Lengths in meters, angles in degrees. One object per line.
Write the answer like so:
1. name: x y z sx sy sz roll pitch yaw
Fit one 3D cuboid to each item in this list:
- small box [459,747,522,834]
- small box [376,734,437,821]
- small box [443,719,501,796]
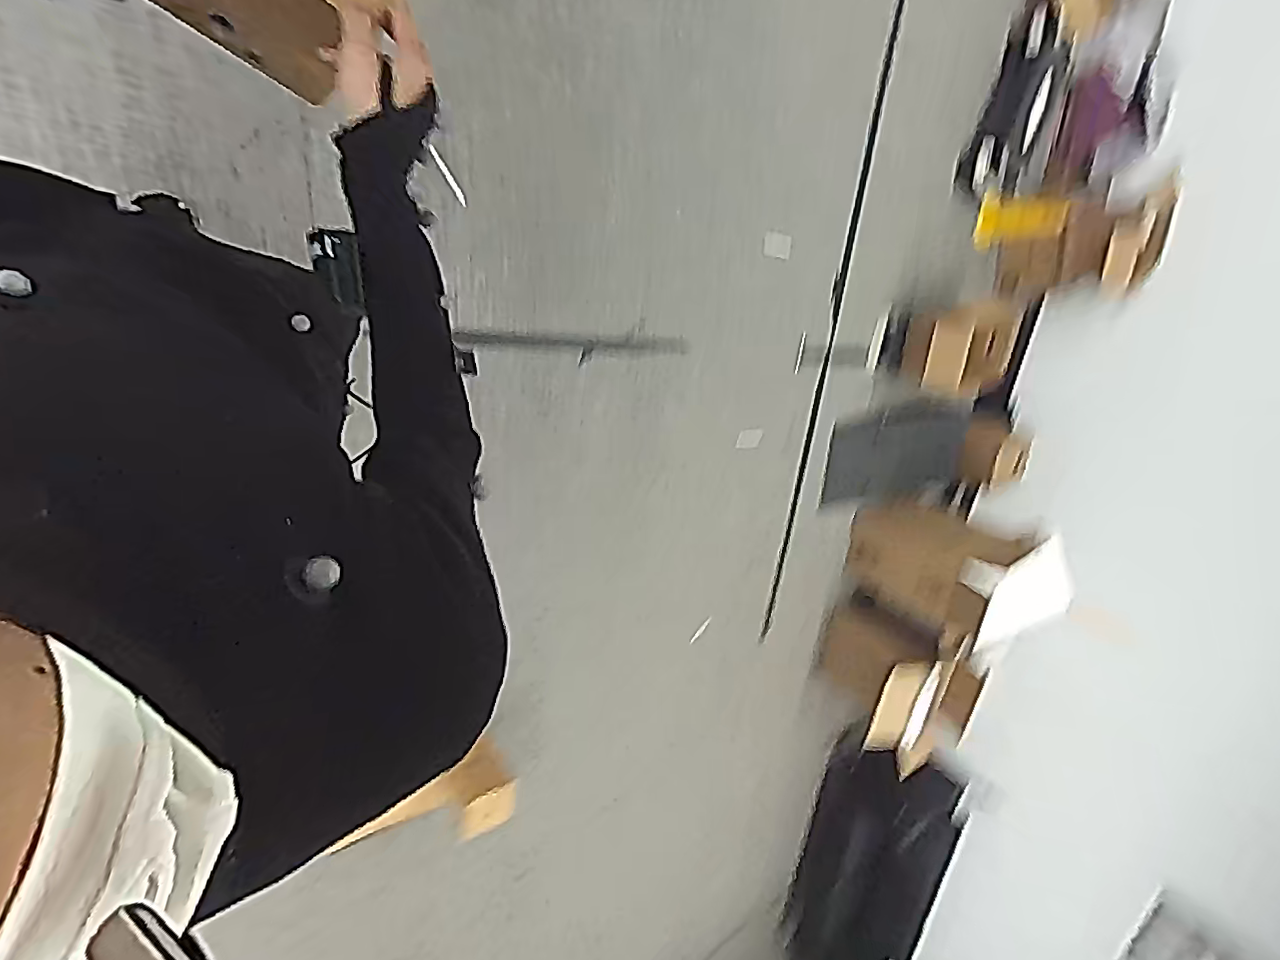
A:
1. small box: -0.533 1.093 1.914 0.168 0.176 0.179 -5 113 -36
2. small box: -0.820 1.037 1.895 0.168 0.176 0.179 -4 113 -35
3. small box: -0.633 1.030 2.030 0.168 0.176 0.179 -6 113 -35
